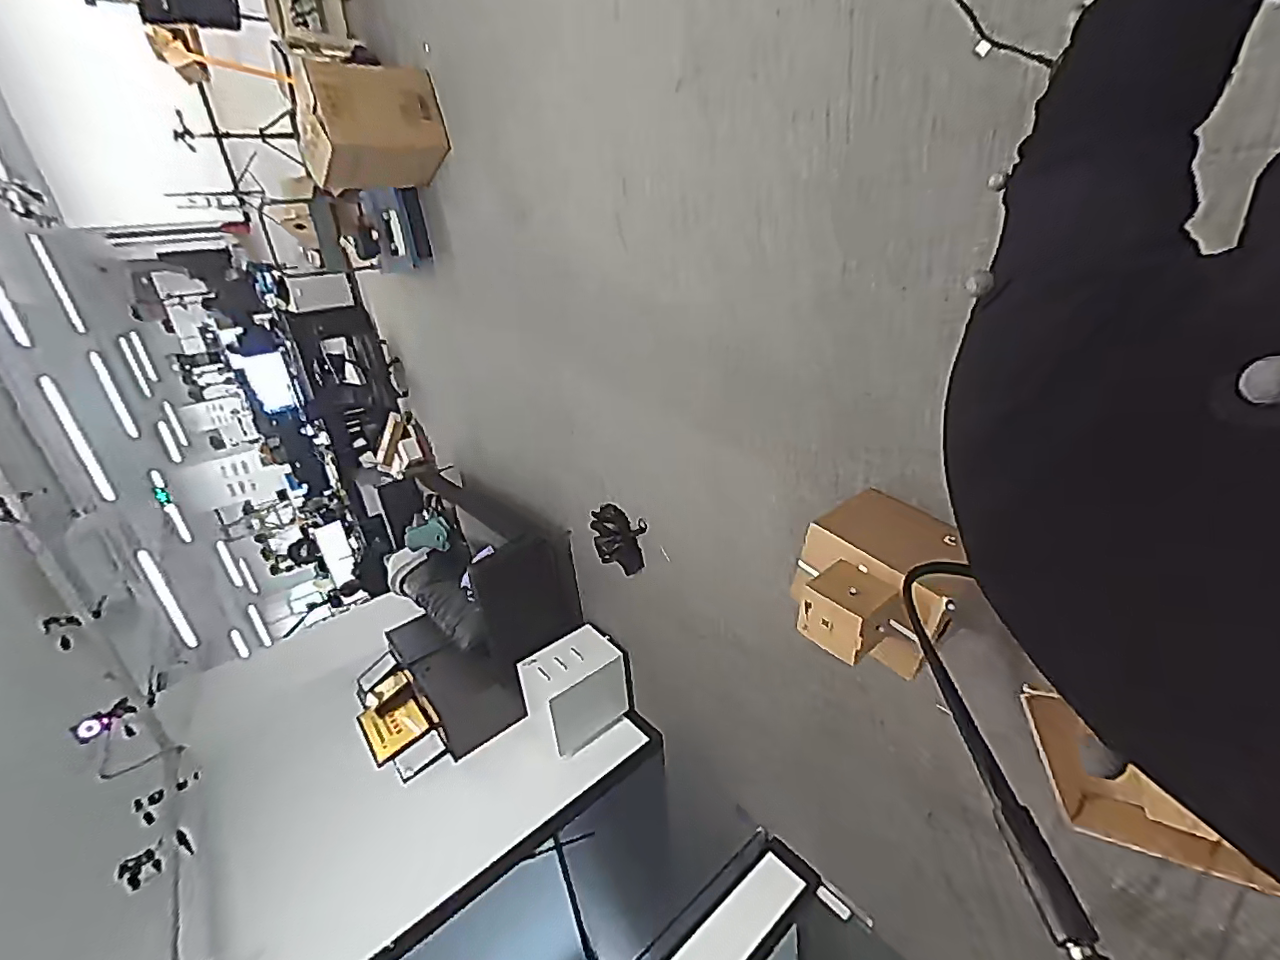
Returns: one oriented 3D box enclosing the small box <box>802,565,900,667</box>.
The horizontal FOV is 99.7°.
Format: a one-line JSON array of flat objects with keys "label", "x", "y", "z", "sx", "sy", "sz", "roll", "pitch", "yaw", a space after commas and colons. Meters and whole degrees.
[{"label": "small box", "x": 0.562, "y": 0.353, "z": 1.441, "sx": 0.179, "sy": 0.176, "sz": 0.168, "roll": 28, "pitch": 130, "yaw": 43}]
